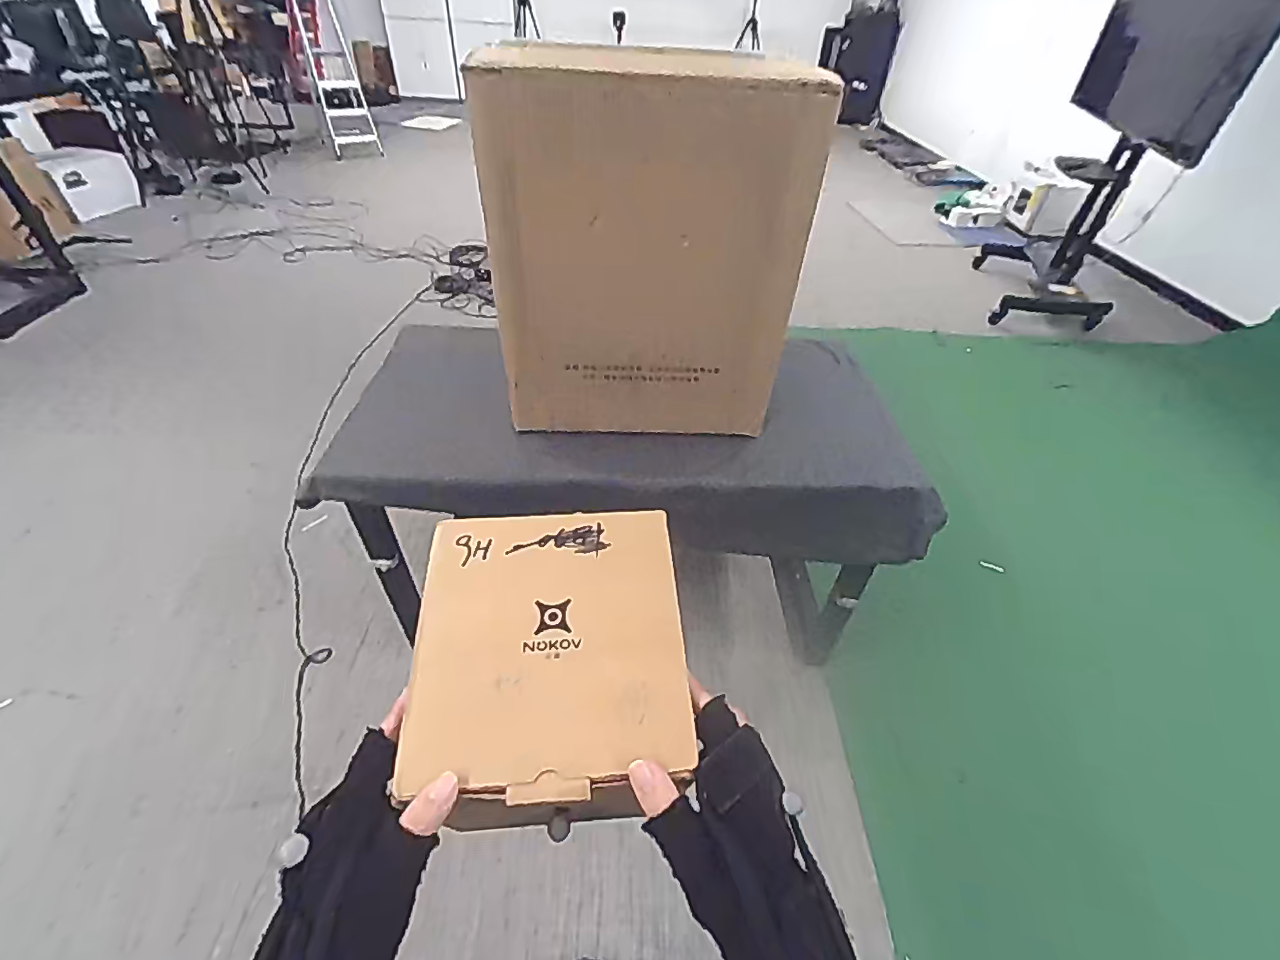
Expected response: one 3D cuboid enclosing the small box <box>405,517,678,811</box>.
[{"bbox_3d":[-0.066,0.152,0.430,0.168,0.176,0.179,-4,53,-5],"label":"small box"}]
